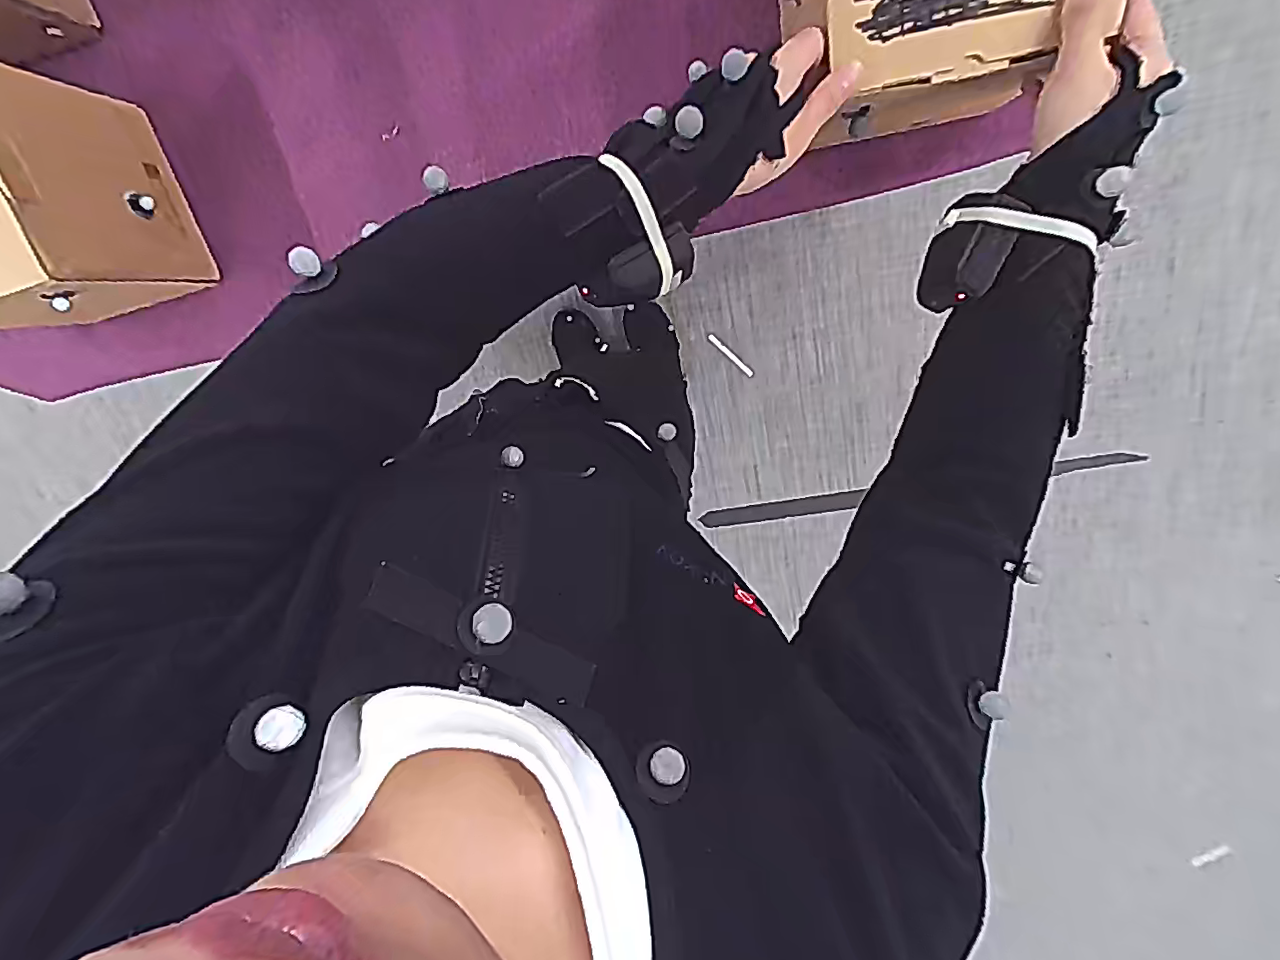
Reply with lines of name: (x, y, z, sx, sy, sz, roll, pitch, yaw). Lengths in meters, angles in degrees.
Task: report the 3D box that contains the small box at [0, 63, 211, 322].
small box: (-0.556, -0.243, 0.488, 0.179, 0.176, 0.168, -13, 108, 9)
